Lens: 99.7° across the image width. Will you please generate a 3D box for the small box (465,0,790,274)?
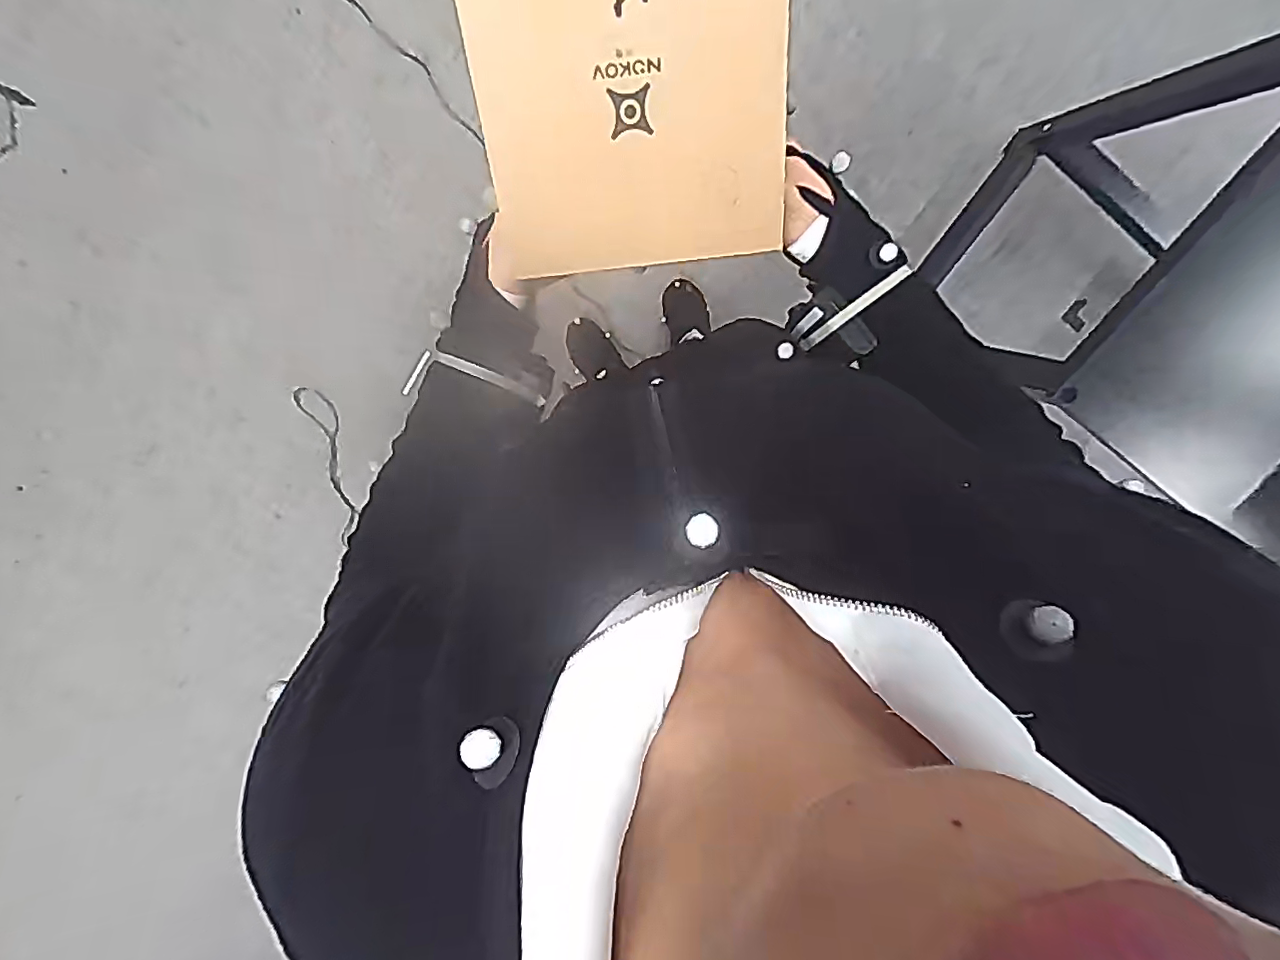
[{"bbox_3d":[-0.003,-0.248,0.358,0.168,0.176,0.179,-5,118,2],"label":"small box"}]
